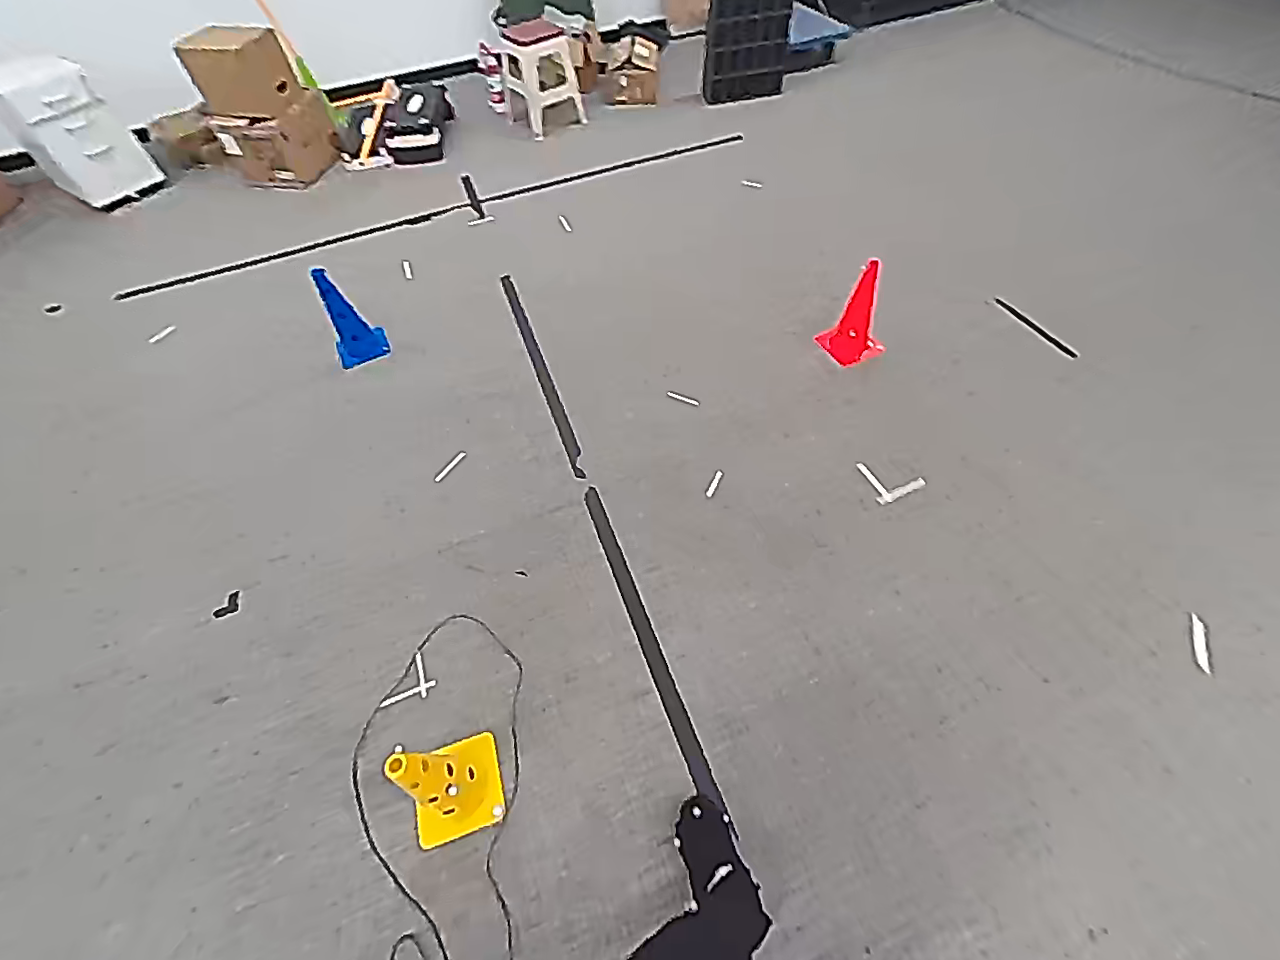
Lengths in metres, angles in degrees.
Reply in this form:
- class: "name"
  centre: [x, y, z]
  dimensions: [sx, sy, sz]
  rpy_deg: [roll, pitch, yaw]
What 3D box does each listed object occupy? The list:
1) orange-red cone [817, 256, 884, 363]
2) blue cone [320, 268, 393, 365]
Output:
- class: "orange-red cone"
  centre: [0.797, -0.635, 1.949]
  dimensions: [0.198, 0.360, 0.199]
  rpy_deg: [-23, 54, -12]
- class: "blue cone"
  centre: [-1.152, -0.653, 2.126]
  dimensions: [0.192, 0.380, 0.193]
  rpy_deg: [-24, 56, -12]
